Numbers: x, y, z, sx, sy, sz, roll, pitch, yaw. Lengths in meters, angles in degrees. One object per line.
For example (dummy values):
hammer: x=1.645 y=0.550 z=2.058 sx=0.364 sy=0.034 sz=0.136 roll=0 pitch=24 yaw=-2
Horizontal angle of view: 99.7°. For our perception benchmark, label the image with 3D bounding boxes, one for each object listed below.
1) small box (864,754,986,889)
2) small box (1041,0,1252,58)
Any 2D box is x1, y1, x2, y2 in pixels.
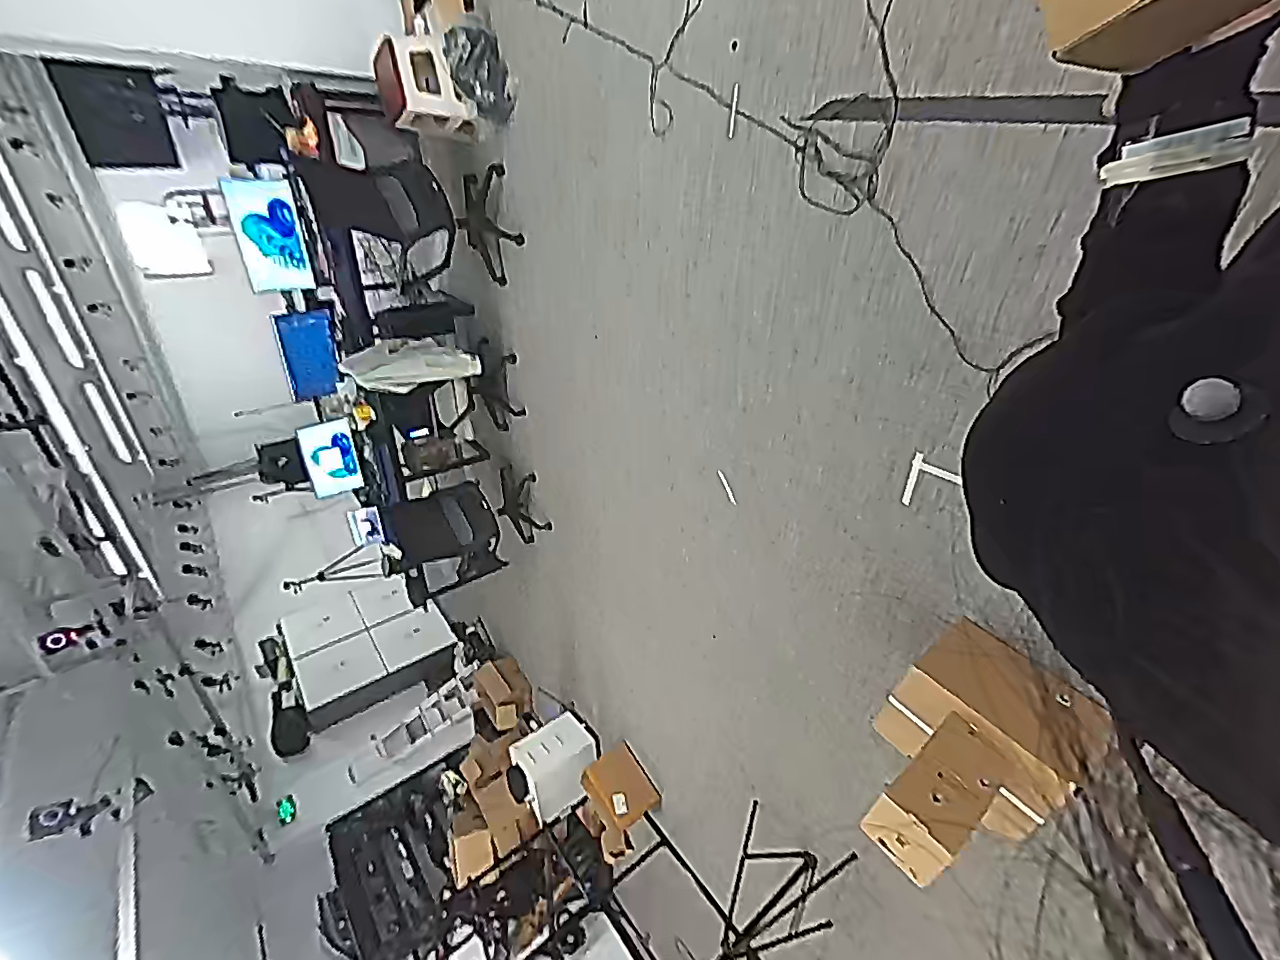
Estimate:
small box: x=0.661 y=0.779 z=1.249 sx=0.168 sy=0.176 sz=0.179 roll=39 pitch=136 yaw=38
small box: x=0.259 y=-0.305 z=0.206 sx=0.168 sy=0.176 sz=0.179 roll=-10 pitch=104 yaw=54
